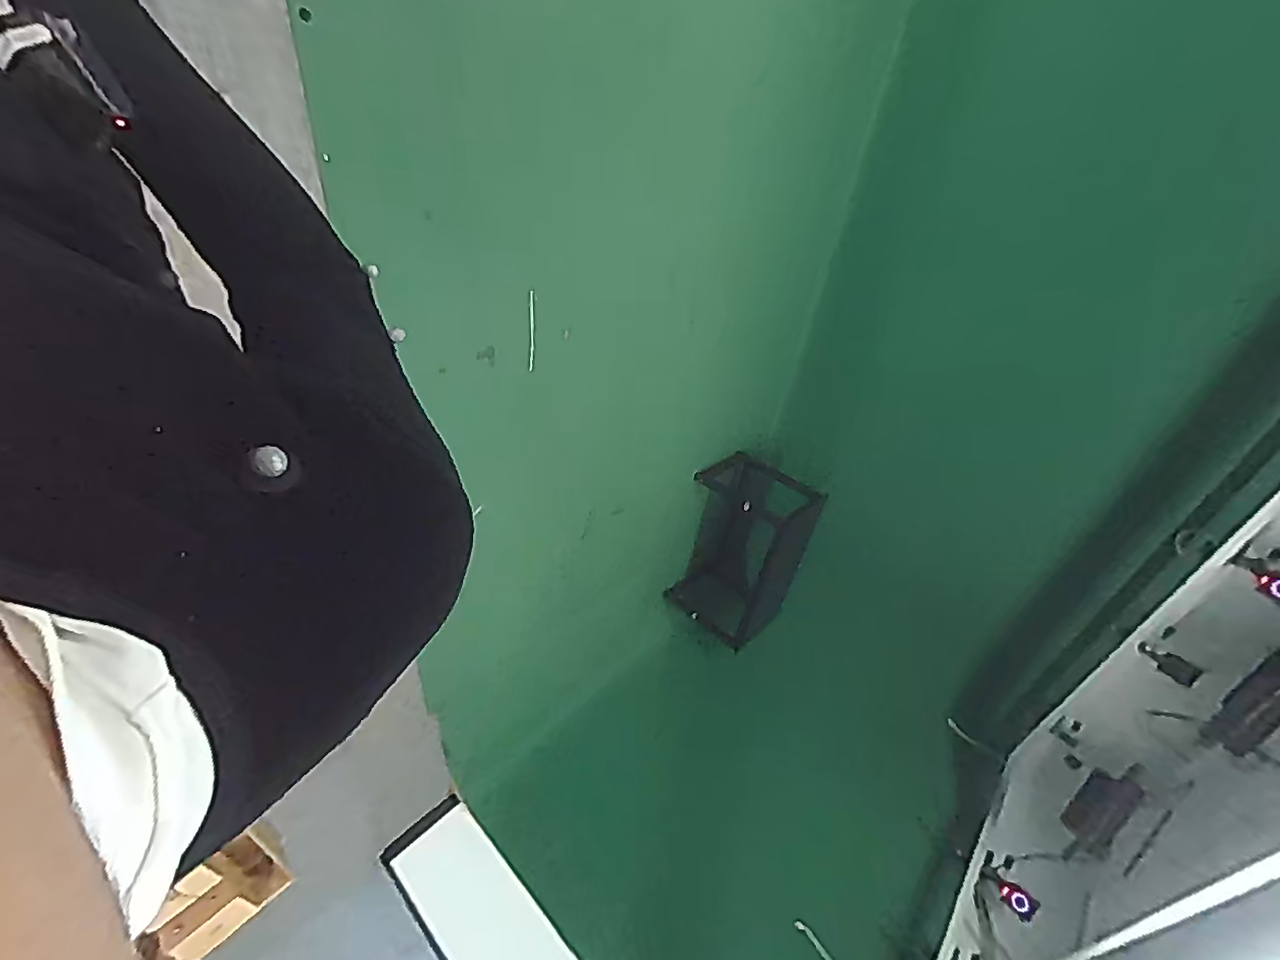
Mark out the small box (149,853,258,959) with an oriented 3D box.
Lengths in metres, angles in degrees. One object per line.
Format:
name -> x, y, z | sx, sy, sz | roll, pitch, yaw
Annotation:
small box -> -1.263, 1.234, 1.568 | 0.179, 0.176, 0.168 | -34, 144, -34
